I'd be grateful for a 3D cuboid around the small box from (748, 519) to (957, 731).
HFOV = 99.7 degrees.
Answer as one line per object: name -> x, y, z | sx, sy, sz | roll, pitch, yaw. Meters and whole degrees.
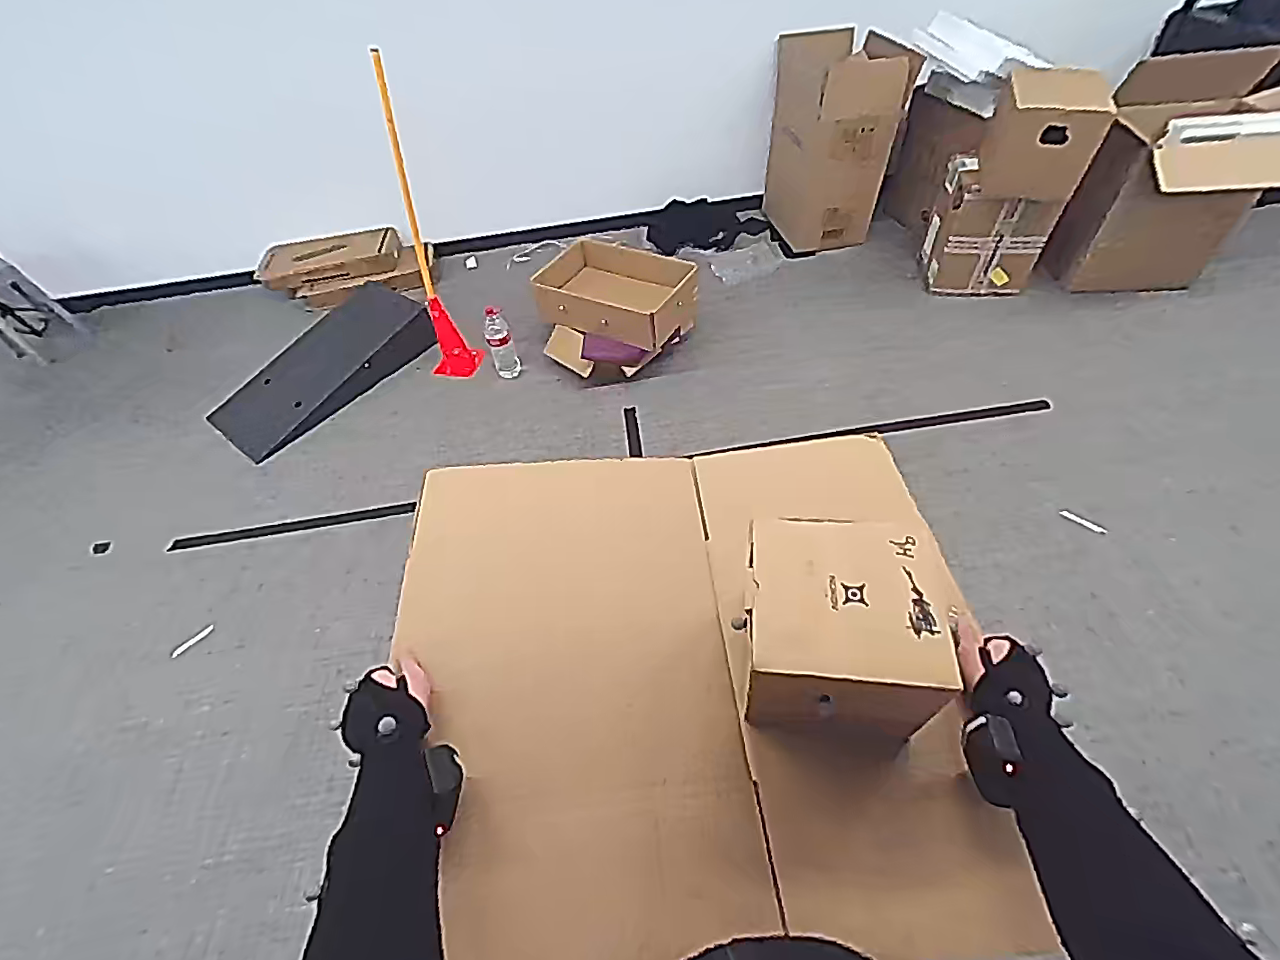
small box -> 0.208, 0.158, 0.583 | 0.179, 0.176, 0.168 | 1, 52, 11
